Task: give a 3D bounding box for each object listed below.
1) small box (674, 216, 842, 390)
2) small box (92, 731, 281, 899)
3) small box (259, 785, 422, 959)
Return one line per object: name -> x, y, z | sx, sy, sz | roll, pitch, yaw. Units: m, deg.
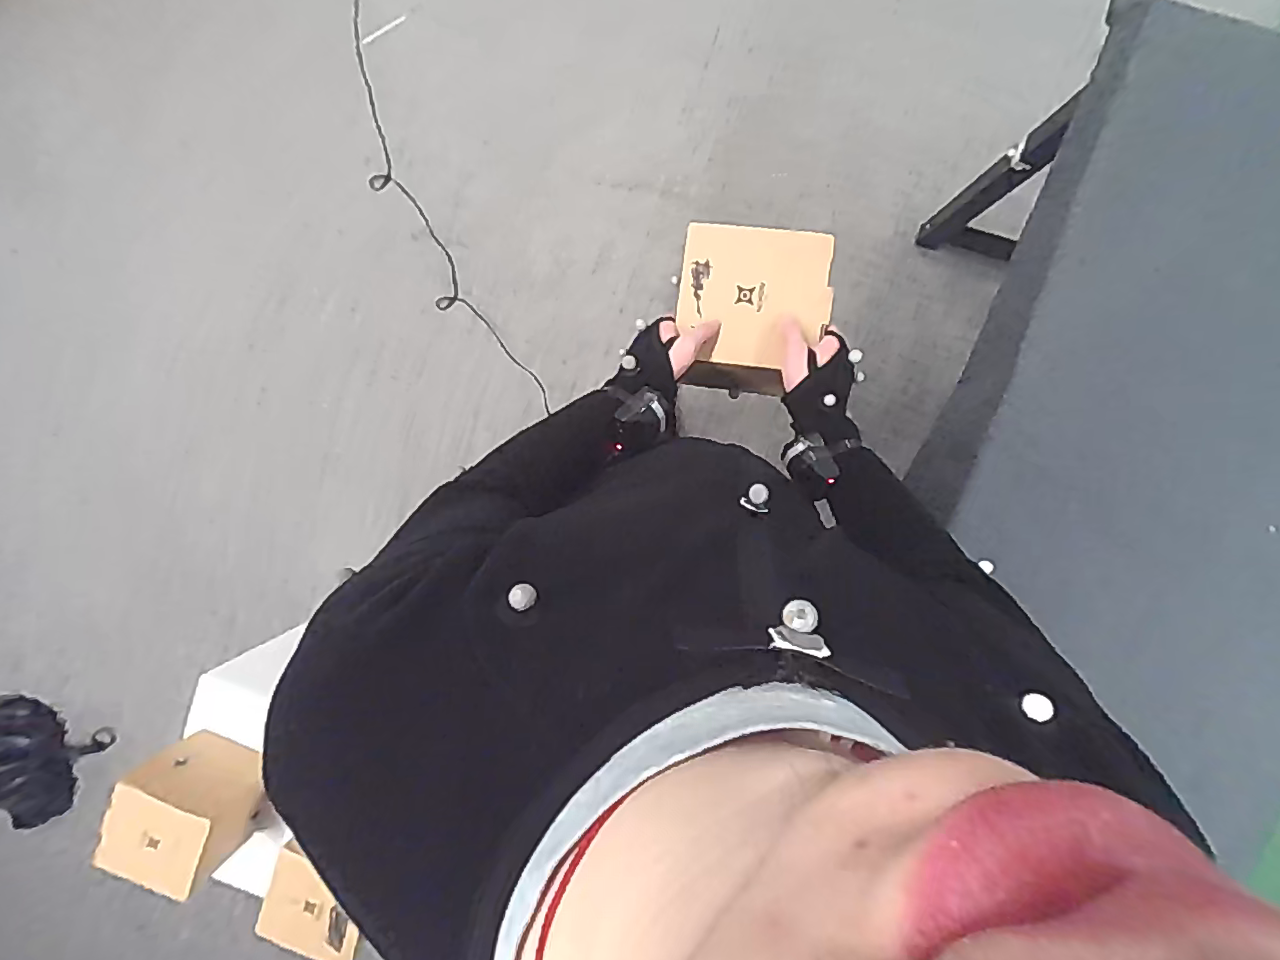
small box -> 0.142, -0.219, 0.711 | 0.179, 0.176, 0.168 | 8, 91, 4
small box -> -0.806, 0.589, 0.976 | 0.179, 0.176, 0.168 | 22, 97, -1
small box -> -0.525, 0.692, 0.972 | 0.179, 0.176, 0.168 | 20, 96, 2
